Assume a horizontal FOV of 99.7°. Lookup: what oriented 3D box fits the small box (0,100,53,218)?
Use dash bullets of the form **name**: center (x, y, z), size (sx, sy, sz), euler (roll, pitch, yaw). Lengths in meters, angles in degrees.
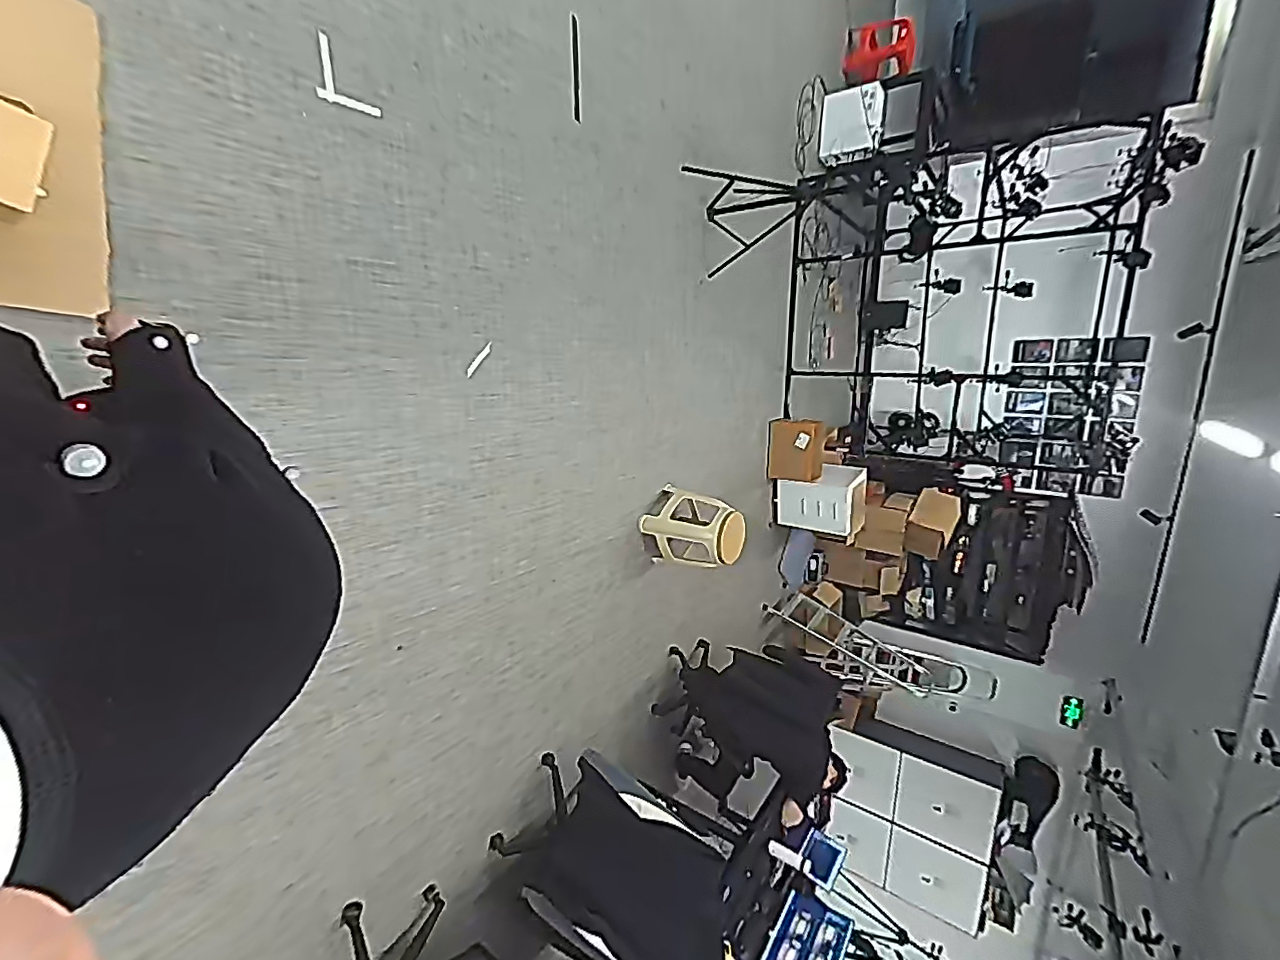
- **small box**: center (-1.168, -0.574, 0.927), size (0.179, 0.176, 0.168), euler (16, 84, -55)
